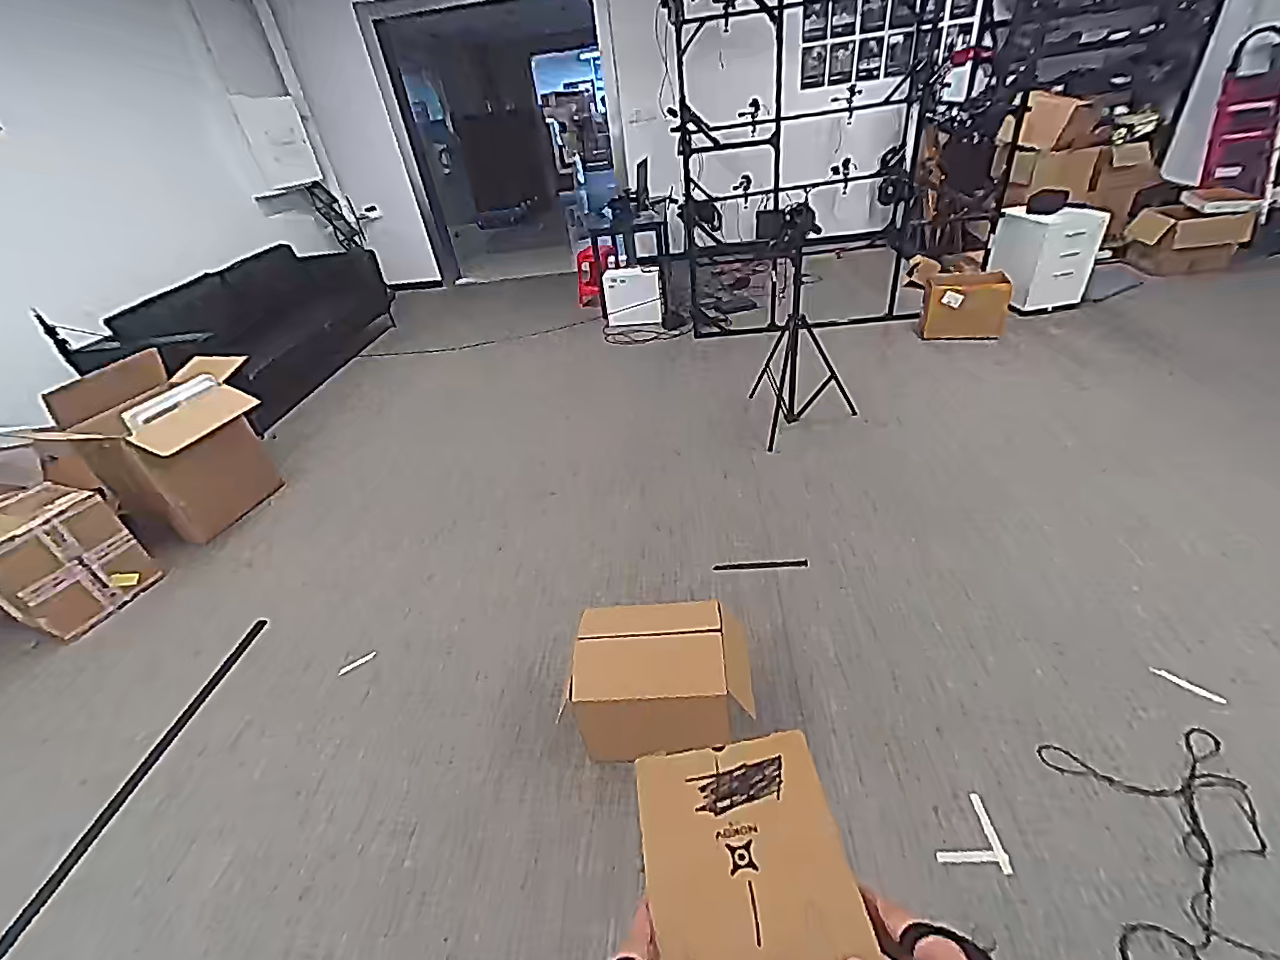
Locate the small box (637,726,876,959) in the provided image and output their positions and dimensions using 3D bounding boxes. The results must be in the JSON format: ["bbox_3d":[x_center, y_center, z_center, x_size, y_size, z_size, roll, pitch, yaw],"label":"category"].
[{"bbox_3d":[0.094,0.366,0.506,0.168,0.176,0.179,-10,37,0],"label":"small box"}]
